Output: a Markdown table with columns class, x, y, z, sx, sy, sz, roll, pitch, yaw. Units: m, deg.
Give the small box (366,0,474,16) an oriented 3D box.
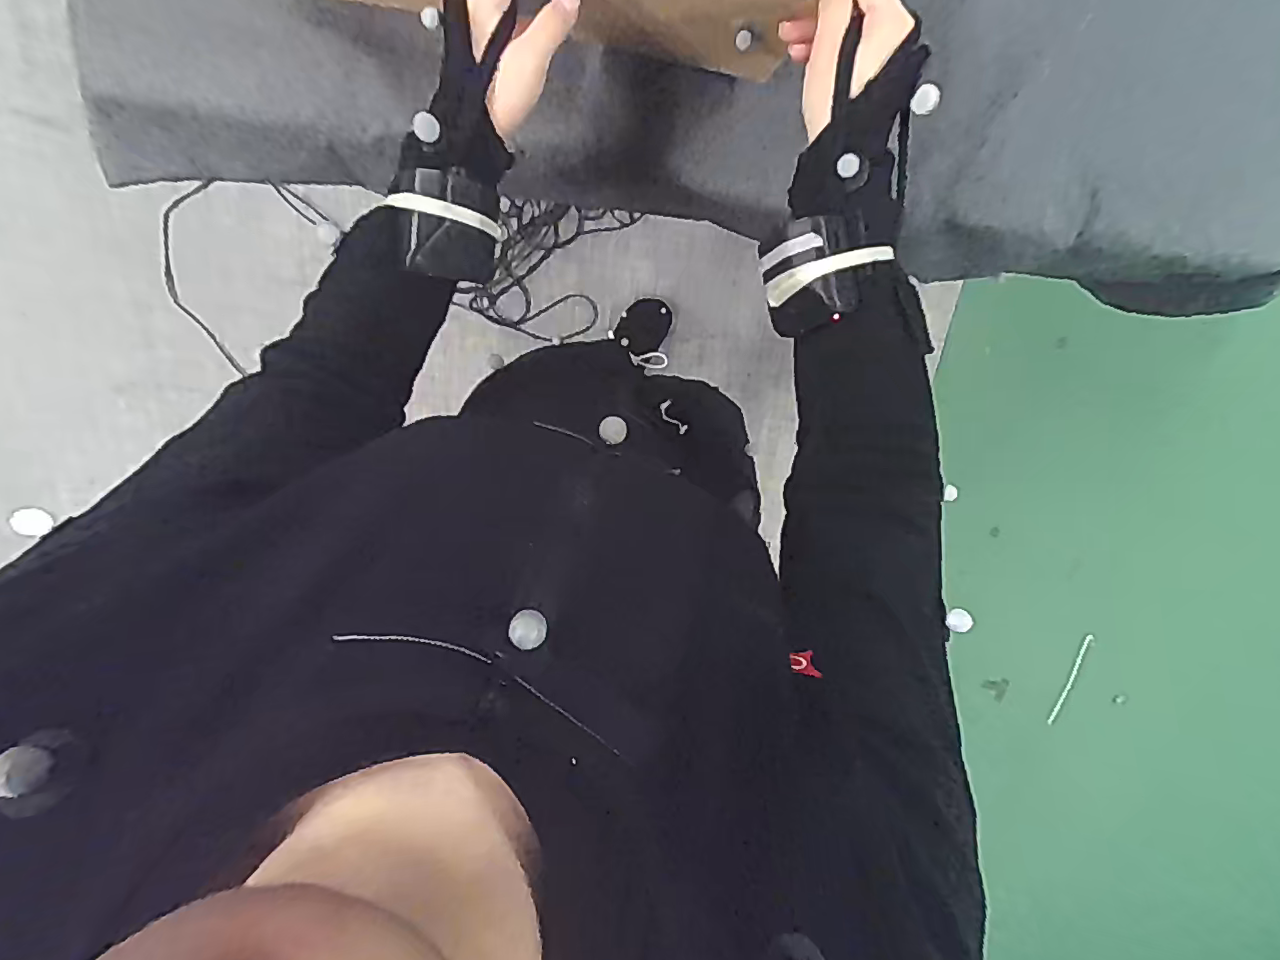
| class | x | y | z | sx | sy | sz | roll | pitch | yaw |
| --- | --- | --- | --- | --- | --- | --- | --- | --- | --- |
| small box | -0.225 | -0.478 | 0.385 | 0.179 | 0.176 | 0.168 | 6 | 107 | -4 |
